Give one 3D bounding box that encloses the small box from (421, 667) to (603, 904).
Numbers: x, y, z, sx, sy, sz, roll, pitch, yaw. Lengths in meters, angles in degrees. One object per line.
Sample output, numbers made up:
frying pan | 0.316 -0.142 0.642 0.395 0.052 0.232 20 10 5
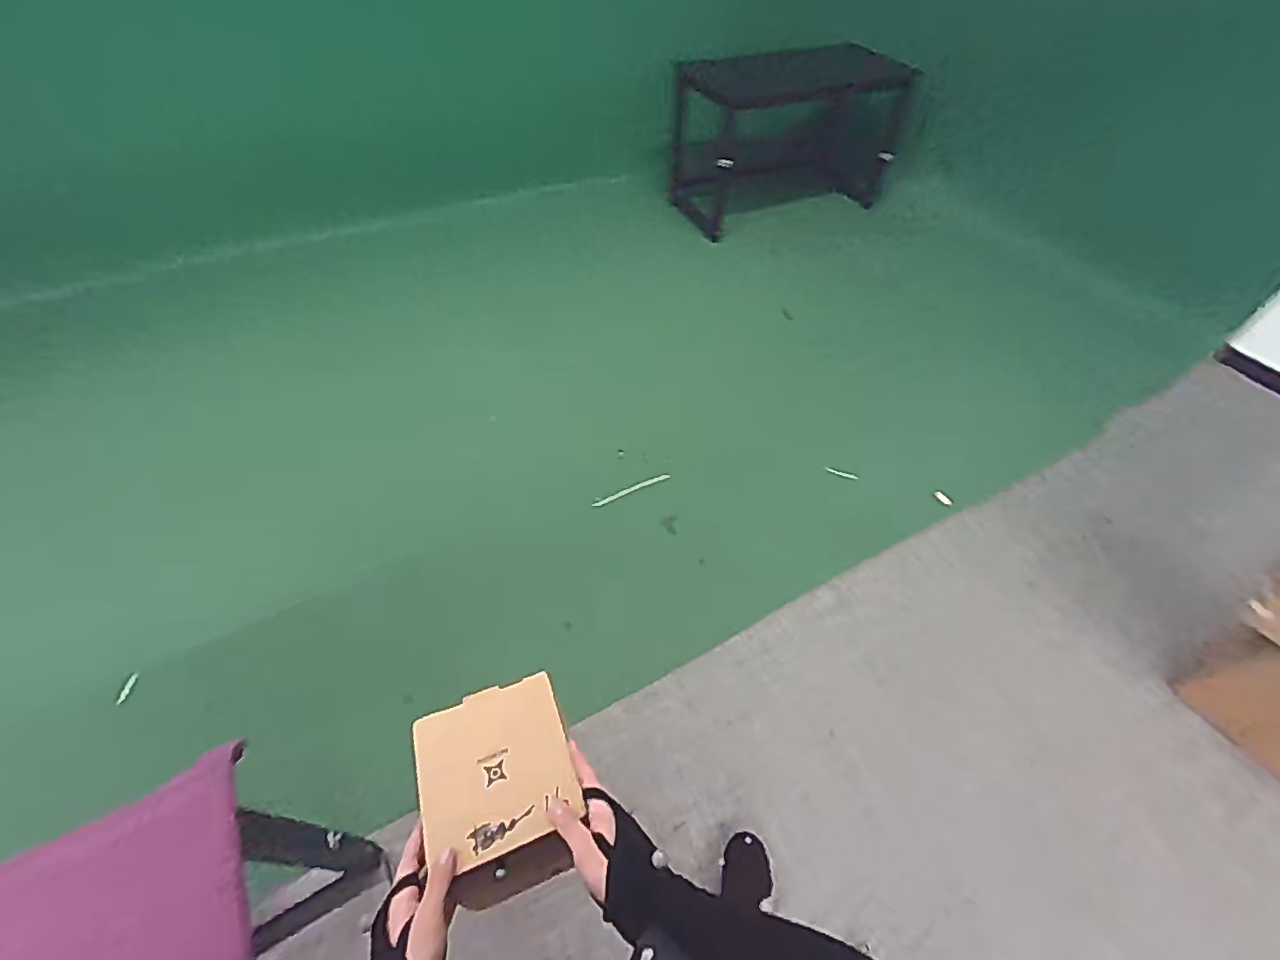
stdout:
small box | -0.150 0.363 0.647 0.168 0.176 0.179 -16 47 -13
